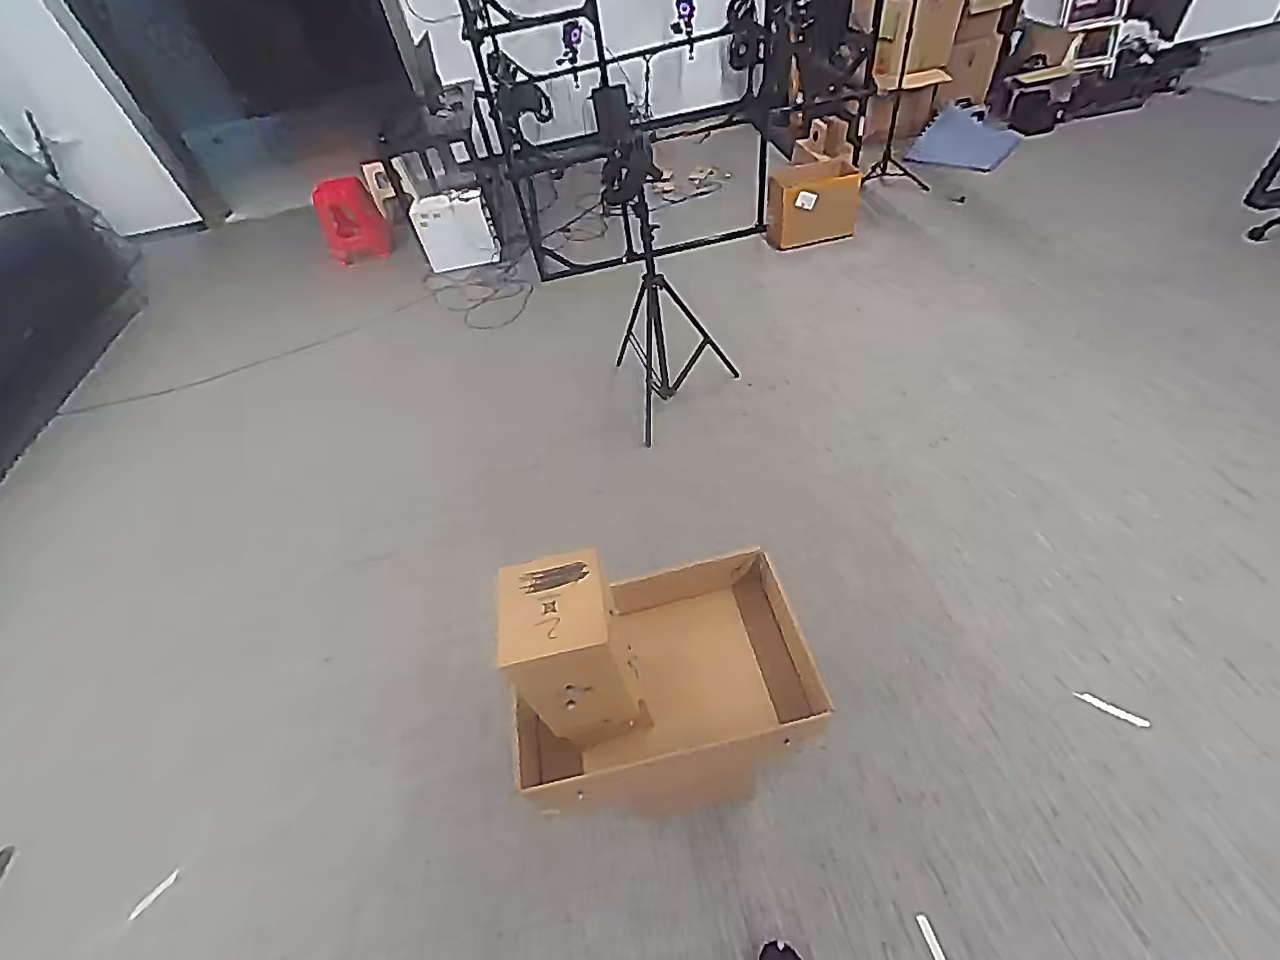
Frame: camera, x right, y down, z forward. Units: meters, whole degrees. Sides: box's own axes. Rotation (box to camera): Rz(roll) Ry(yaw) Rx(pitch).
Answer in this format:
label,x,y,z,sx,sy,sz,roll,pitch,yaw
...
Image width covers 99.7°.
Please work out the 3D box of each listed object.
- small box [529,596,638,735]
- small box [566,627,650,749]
label,x,y,z,sx,sy,sz,roll,pitch,yaw
small box,-0.105,0.351,1.020,0.168,0.176,0.179,-14,46,0
small box,-0.084,0.444,1.153,0.179,0.176,0.168,-18,47,-4
